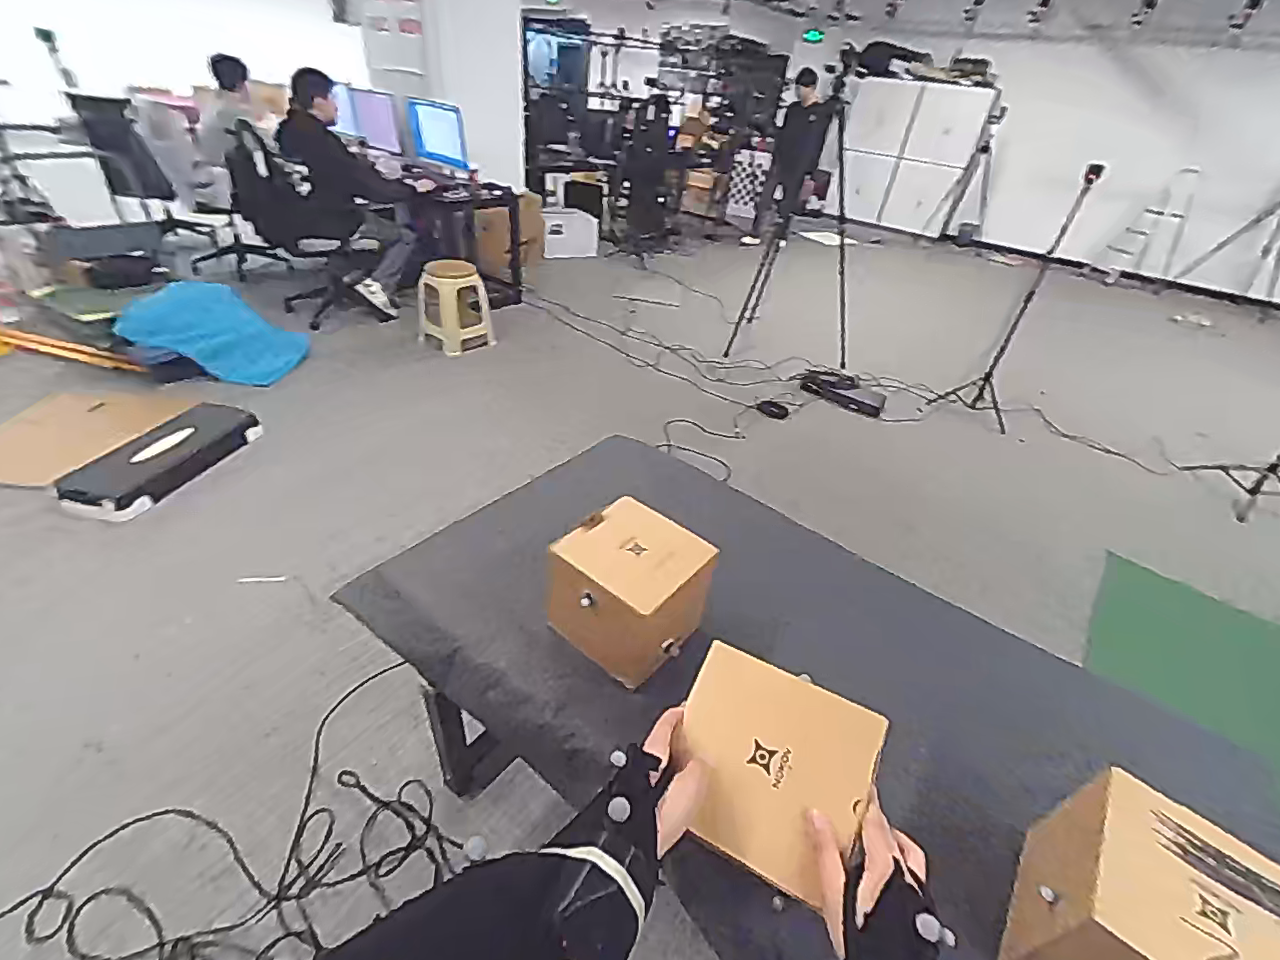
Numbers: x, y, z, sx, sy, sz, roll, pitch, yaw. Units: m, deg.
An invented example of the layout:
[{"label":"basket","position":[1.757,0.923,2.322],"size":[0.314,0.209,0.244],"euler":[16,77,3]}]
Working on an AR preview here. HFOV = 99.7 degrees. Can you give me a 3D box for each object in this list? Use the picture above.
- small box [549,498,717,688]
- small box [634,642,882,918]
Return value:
[{"label":"small box","position":[-0.018,0.161,0.784],"size":[0.179,0.176,0.168],"euler":[30,42,27]},{"label":"small box","position":[0.115,0.298,0.544],"size":[0.179,0.176,0.168],"euler":[20,59,21]}]
